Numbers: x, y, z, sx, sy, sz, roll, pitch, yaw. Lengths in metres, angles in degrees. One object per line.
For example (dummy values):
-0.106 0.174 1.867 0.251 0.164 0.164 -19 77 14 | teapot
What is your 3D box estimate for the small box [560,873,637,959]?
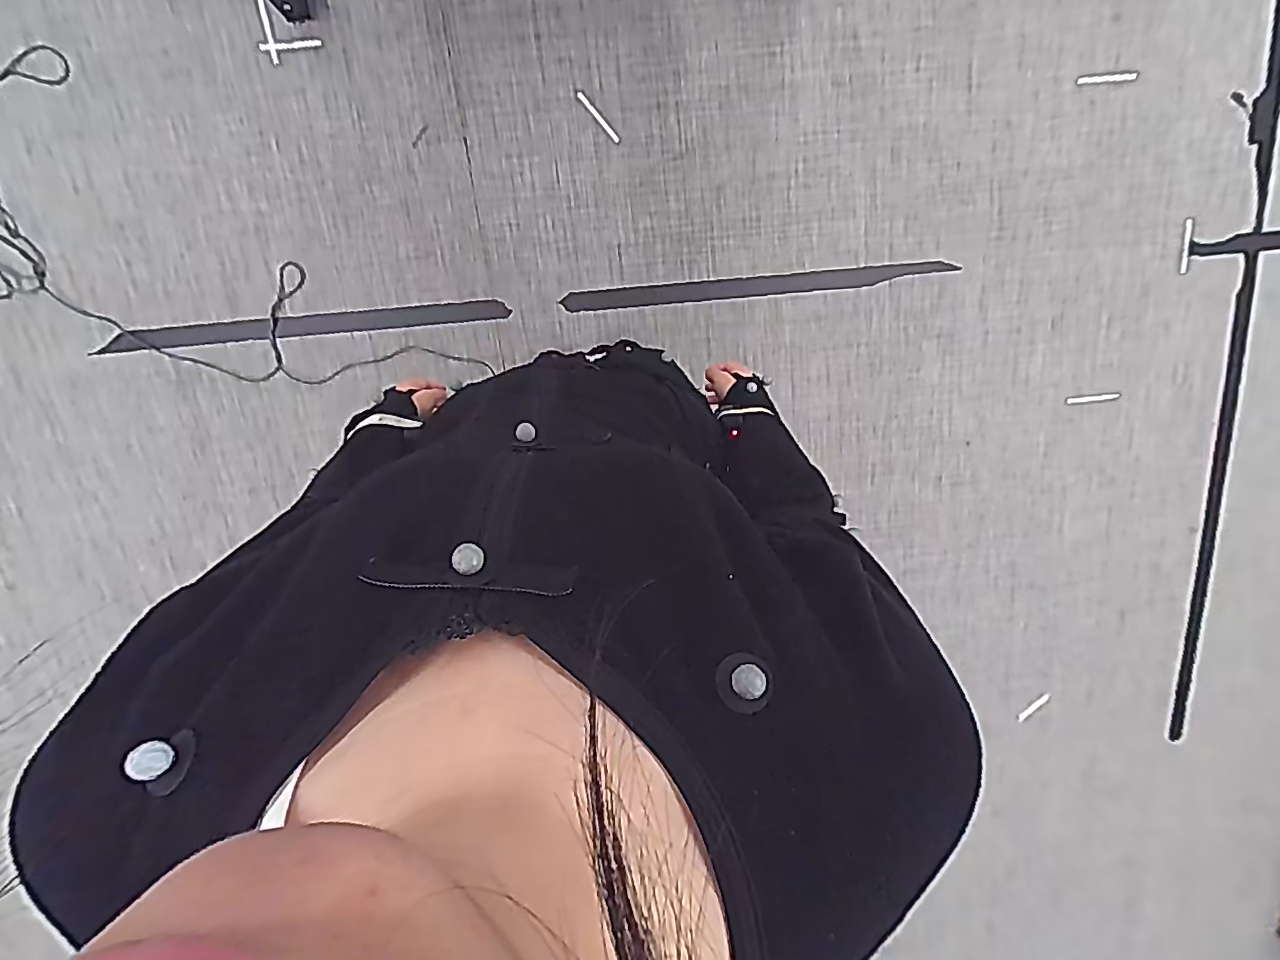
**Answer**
-0.104 1.153 1.391 0.179 0.176 0.168 -7 102 -2 | small box
